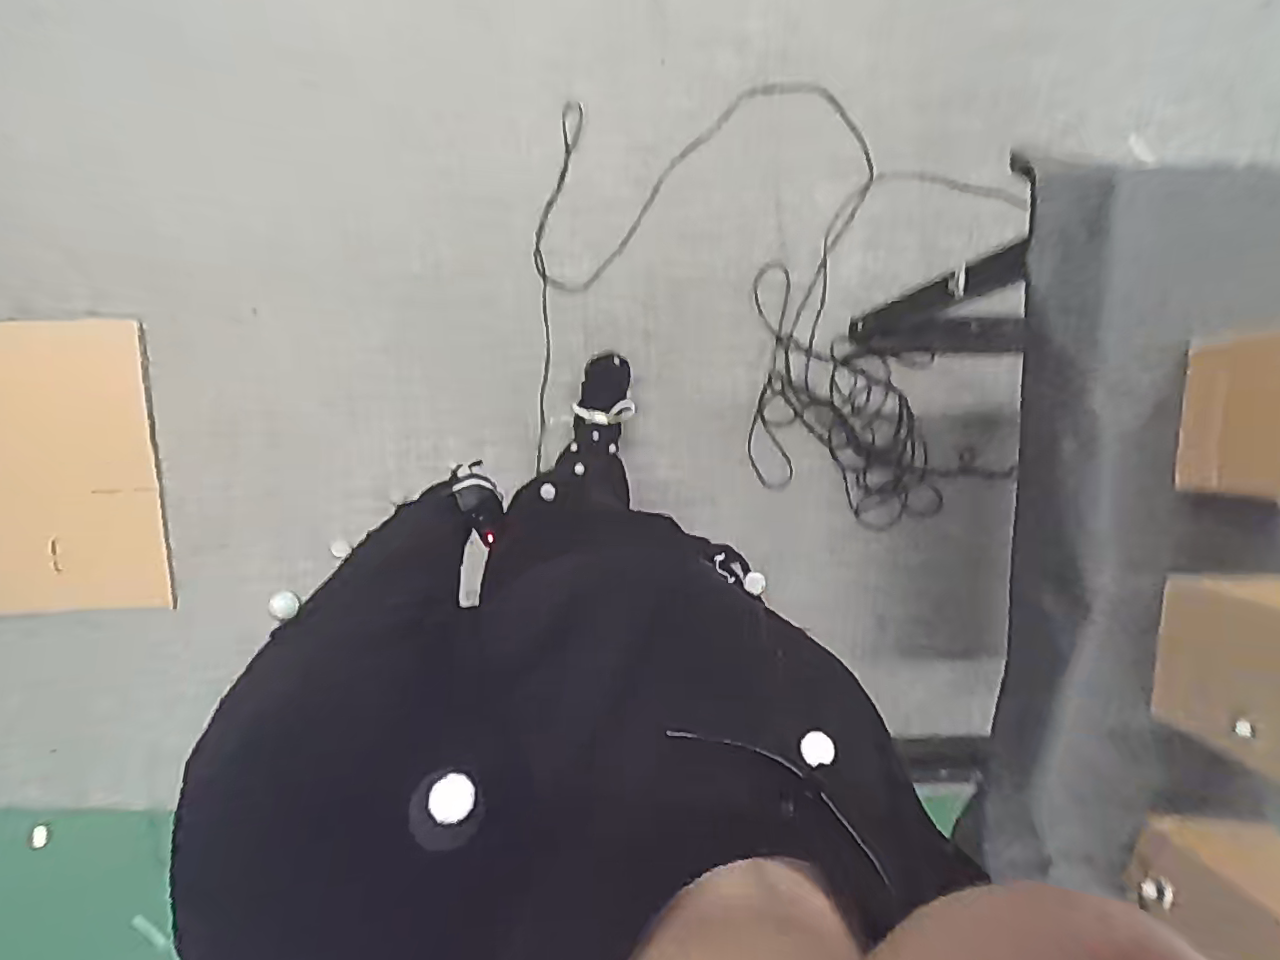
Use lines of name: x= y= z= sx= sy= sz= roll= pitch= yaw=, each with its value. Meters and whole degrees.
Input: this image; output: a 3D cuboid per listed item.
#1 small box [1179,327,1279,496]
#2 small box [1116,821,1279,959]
small box: x=0.718 y=-0.069 z=0.555 sx=0.168 sy=0.176 sz=0.179 roll=0 pitch=97 yaw=-3
small box: x=0.707 y=0.521 z=0.611 sx=0.179 sy=0.176 sz=0.168 roll=7 pitch=94 yaw=-3
